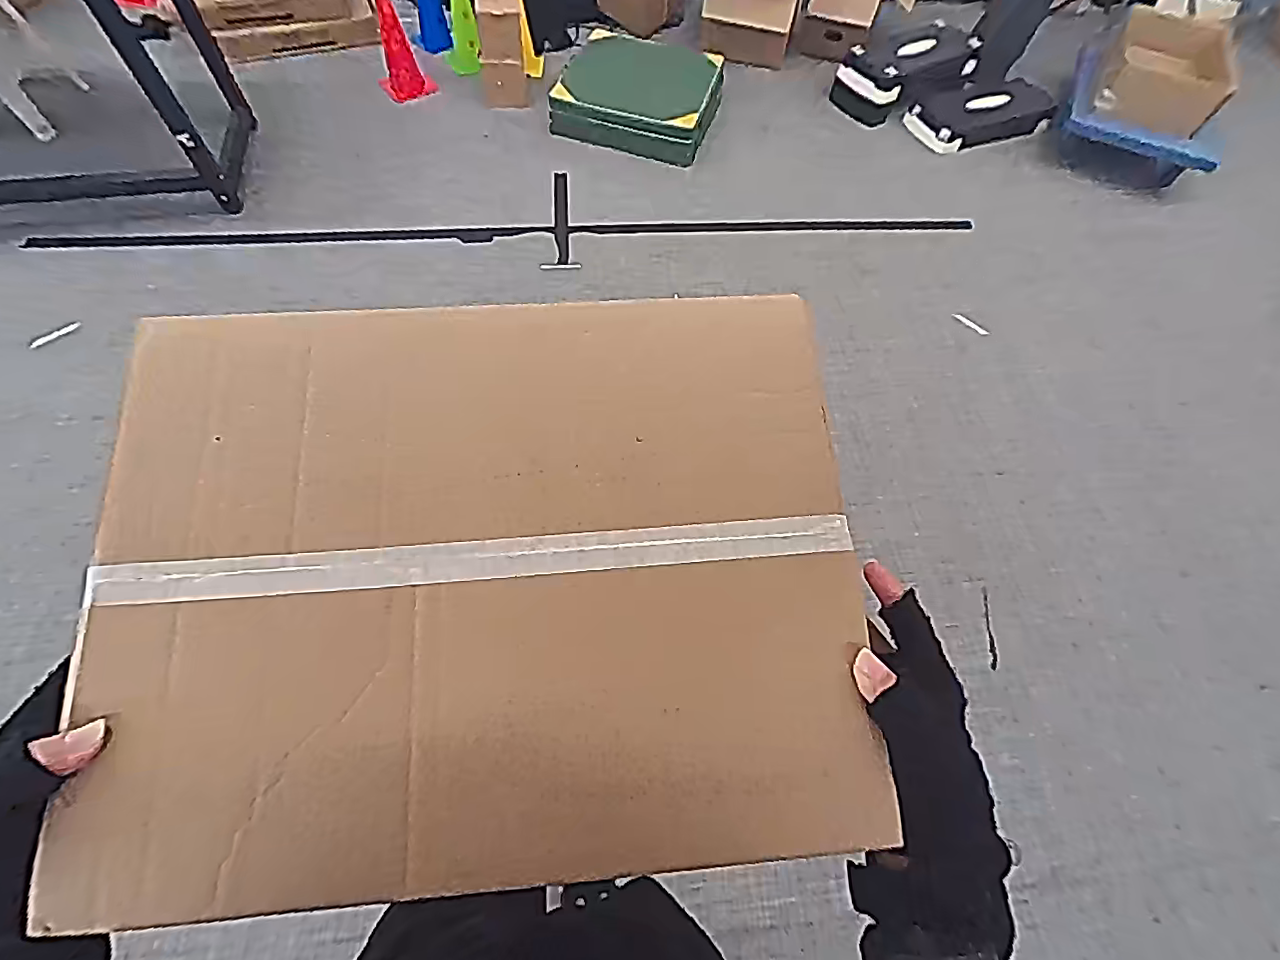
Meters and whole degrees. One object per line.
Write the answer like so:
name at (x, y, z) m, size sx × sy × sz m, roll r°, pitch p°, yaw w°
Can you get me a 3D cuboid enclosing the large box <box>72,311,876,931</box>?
large box at (-0.091, 0.089, 0.449) m, size 0.408 × 0.320 × 0.320 m, roll -4°, pitch 74°, yaw -4°
